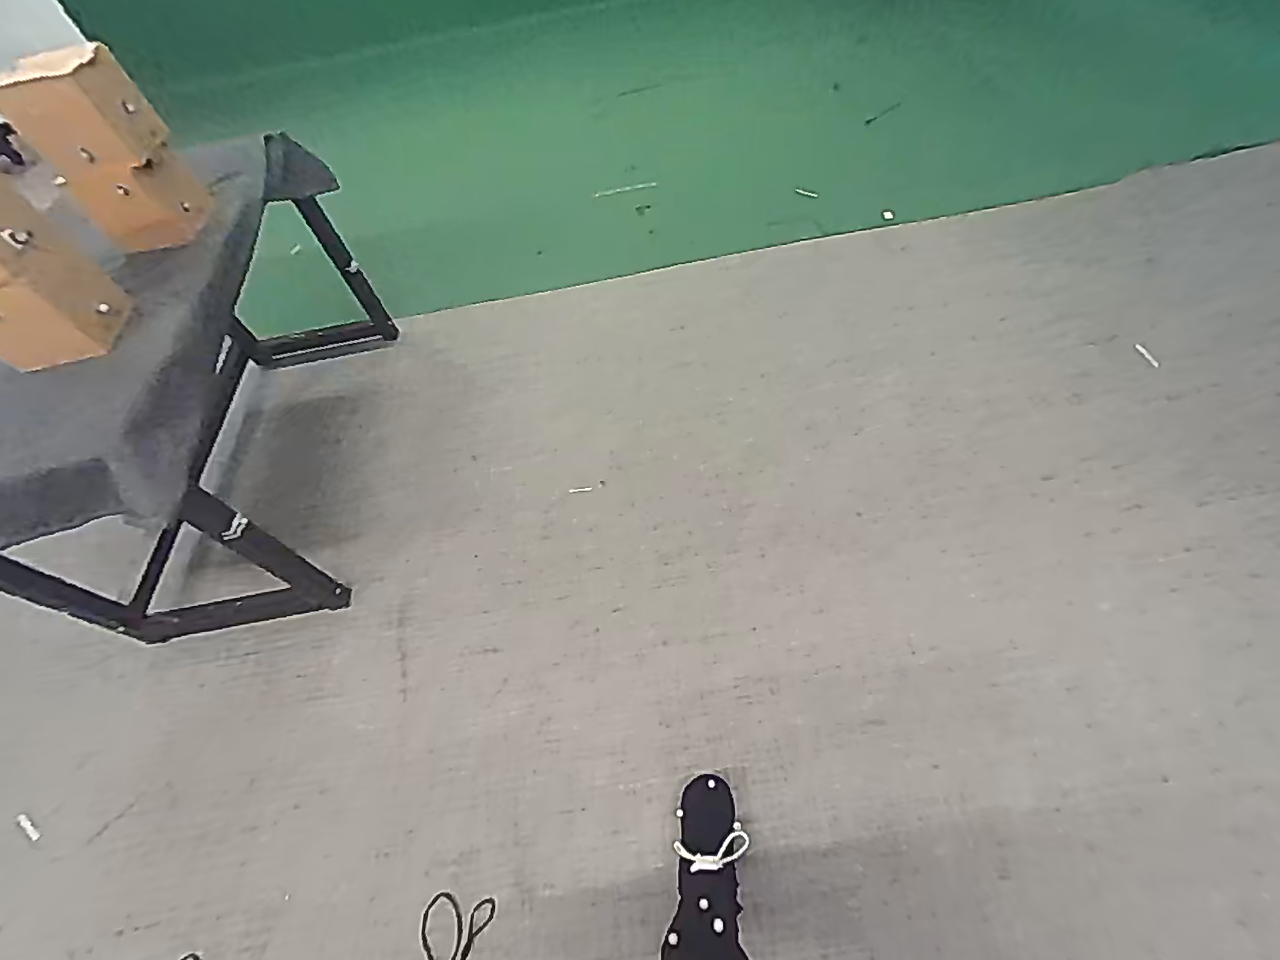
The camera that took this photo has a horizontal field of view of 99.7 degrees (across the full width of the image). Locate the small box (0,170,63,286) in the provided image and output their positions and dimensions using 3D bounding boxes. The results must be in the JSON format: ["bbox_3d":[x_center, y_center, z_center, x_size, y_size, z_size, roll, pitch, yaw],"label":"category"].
[{"bbox_3d":[-1.158,-0.428,0.904,0.179,0.176,0.168,-12,56,-1],"label":"small box"}]

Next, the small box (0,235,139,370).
[{"bbox_3d":[-1.137,-0.333,1.034,0.179,0.176,0.168,-13,55,-1],"label":"small box"}]

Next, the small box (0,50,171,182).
[{"bbox_3d":[-1.144,-0.751,1.124,0.179,0.176,0.168,-10,55,0],"label":"small box"}]

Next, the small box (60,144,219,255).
[{"bbox_3d":[-1.141,-0.645,1.251,0.179,0.176,0.168,-7,55,3],"label":"small box"}]
